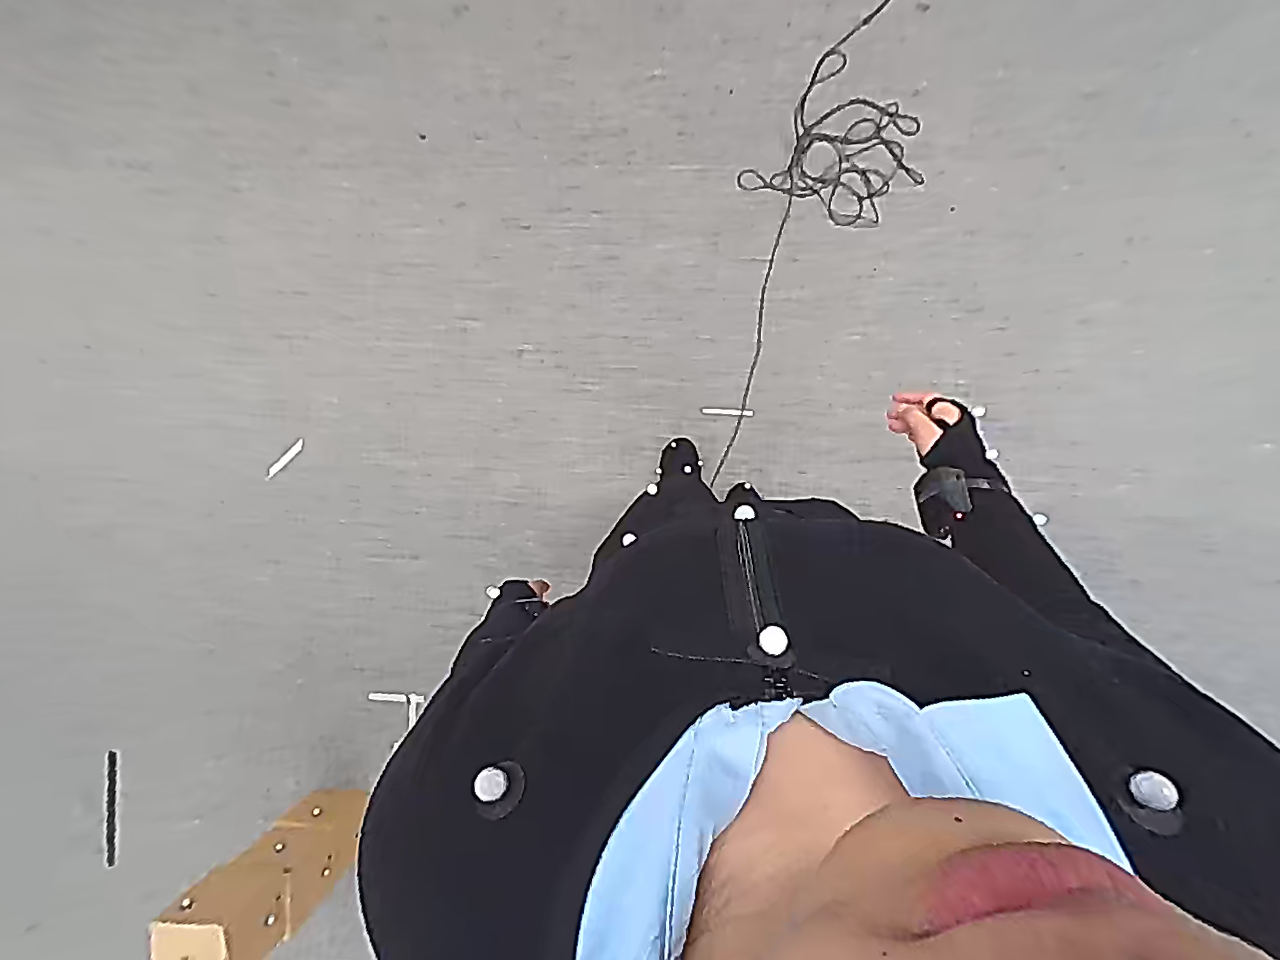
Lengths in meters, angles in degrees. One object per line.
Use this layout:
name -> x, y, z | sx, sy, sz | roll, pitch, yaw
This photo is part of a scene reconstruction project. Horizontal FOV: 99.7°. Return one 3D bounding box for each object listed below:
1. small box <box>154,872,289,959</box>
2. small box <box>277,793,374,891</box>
small box -> -0.927, 1.017, 1.209 | 0.179, 0.176, 0.168 | -2, 91, 5
small box -> -0.888, 1.019, 1.536 | 0.179, 0.176, 0.168 | 1, 90, 5
